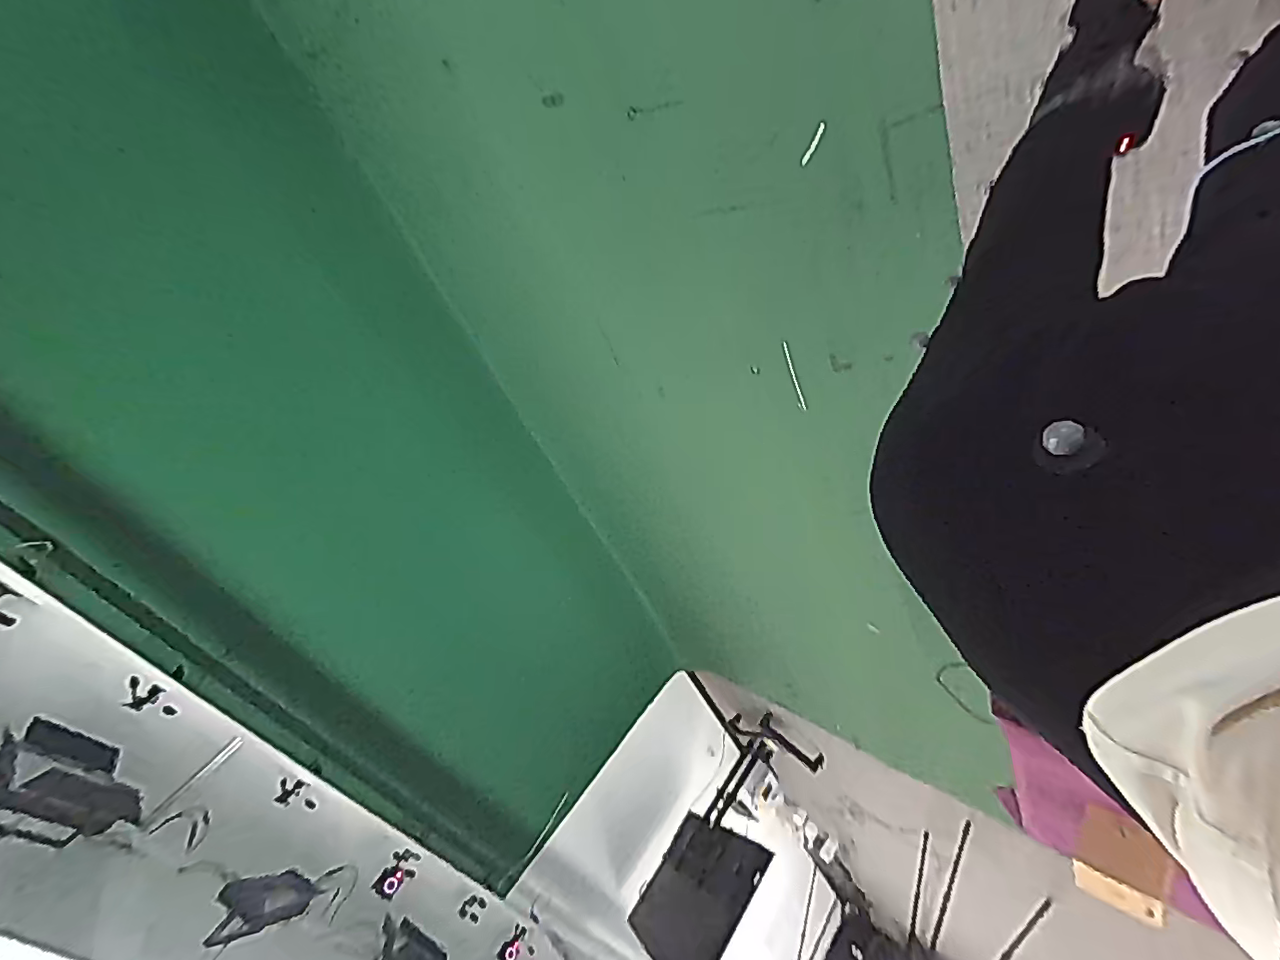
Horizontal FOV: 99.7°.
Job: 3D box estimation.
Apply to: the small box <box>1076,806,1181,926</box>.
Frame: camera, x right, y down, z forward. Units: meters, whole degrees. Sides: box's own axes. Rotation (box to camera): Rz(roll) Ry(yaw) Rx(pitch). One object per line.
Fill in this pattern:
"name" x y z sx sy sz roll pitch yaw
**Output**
"small box" 1.268 0.990 1.407 0.179 0.176 0.168 9 137 48
